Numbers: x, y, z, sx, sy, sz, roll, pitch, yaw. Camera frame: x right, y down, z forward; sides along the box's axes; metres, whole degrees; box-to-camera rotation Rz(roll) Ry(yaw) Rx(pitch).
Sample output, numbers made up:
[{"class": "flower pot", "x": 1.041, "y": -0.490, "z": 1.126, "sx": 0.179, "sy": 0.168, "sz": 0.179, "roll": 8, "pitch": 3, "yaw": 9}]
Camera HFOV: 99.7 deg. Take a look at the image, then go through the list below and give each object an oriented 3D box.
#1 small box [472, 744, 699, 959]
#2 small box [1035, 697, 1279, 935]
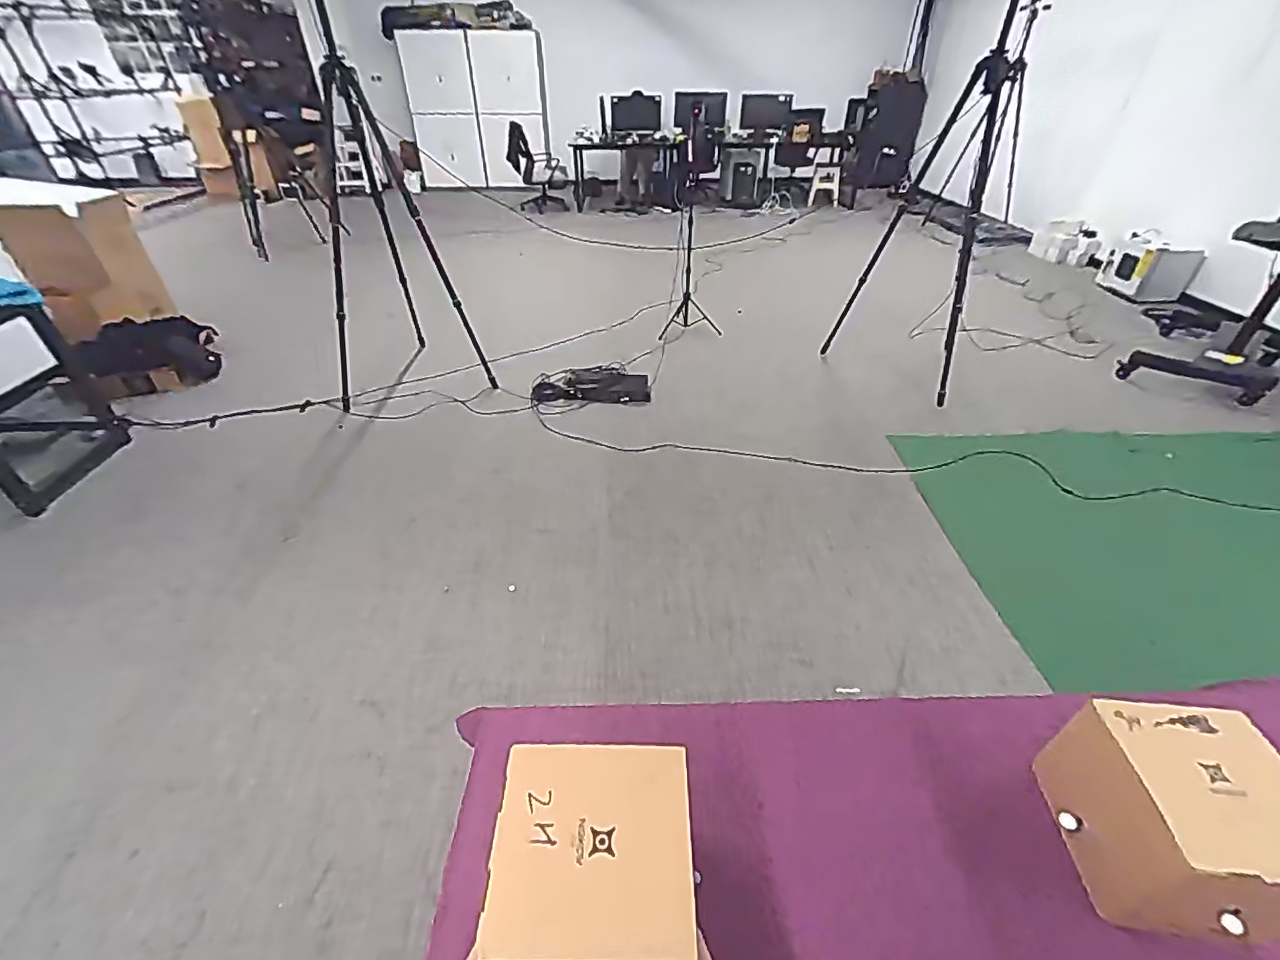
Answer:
[{"class": "small box", "x": -0.042, "y": 0.378, "z": 0.523, "sx": 0.179, "sy": 0.176, "sz": 0.168, "roll": 1, "pitch": 39, "yaw": 0}, {"class": "small box", "x": 0.594, "y": 0.373, "z": 0.603, "sx": 0.168, "sy": 0.176, "sz": 0.179, "roll": 4, "pitch": 38, "yaw": 5}]
